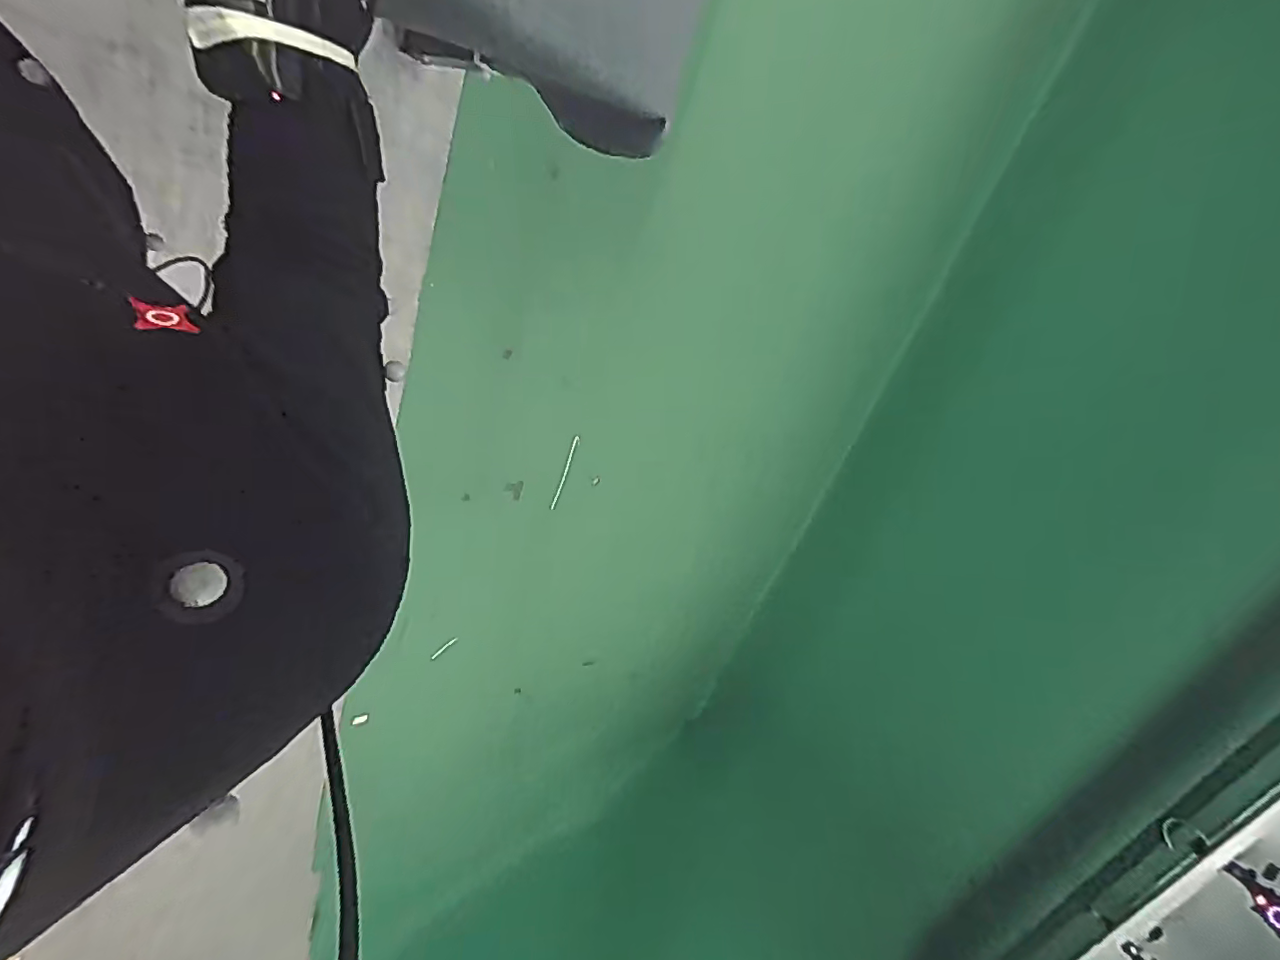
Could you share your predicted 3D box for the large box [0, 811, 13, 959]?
[{"bbox_3d":[-1.631,1.002,1.135,0.408,0.320,0.320,4,117,-49],"label":"large box"}]
